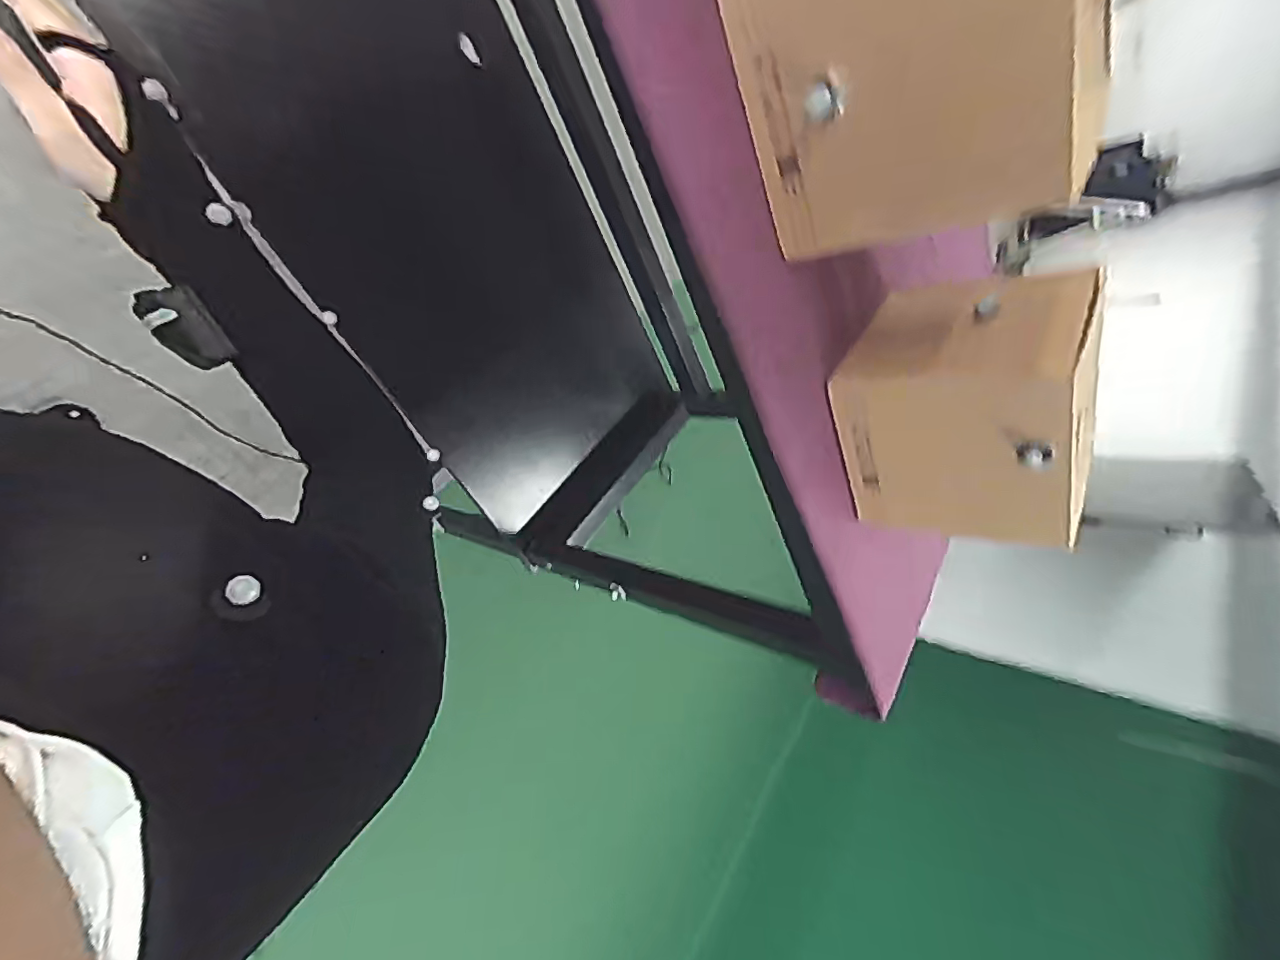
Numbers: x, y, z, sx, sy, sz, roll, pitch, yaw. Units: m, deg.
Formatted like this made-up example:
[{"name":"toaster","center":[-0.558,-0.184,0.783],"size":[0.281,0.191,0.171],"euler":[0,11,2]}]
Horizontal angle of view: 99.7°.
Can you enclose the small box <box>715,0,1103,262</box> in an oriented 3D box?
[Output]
[{"name":"small box","center":[0.174,-0.261,0.342],"size":[0.179,0.176,0.168],"euler":[-47,127,-31]}]

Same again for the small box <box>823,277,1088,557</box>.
[{"name":"small box","center":[0.286,-0.059,0.490],"size":[0.179,0.176,0.168],"euler":[-49,127,-33]}]
